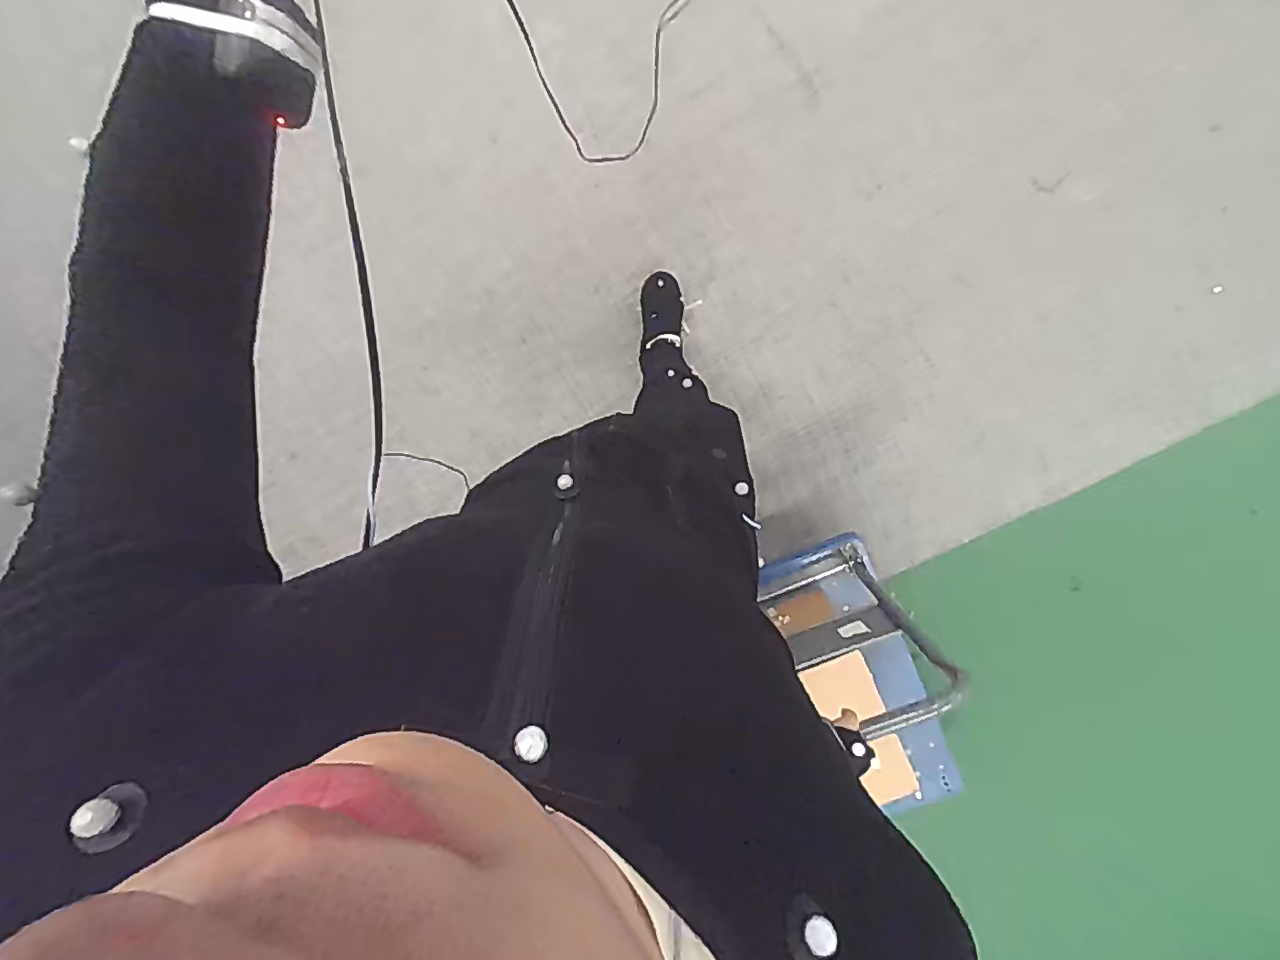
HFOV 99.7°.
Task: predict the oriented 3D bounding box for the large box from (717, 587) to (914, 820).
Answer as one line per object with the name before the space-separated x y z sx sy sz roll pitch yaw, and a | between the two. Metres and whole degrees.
large box | 0.428 0.557 1.398 0.320 0.320 0.408 -24 101 10
